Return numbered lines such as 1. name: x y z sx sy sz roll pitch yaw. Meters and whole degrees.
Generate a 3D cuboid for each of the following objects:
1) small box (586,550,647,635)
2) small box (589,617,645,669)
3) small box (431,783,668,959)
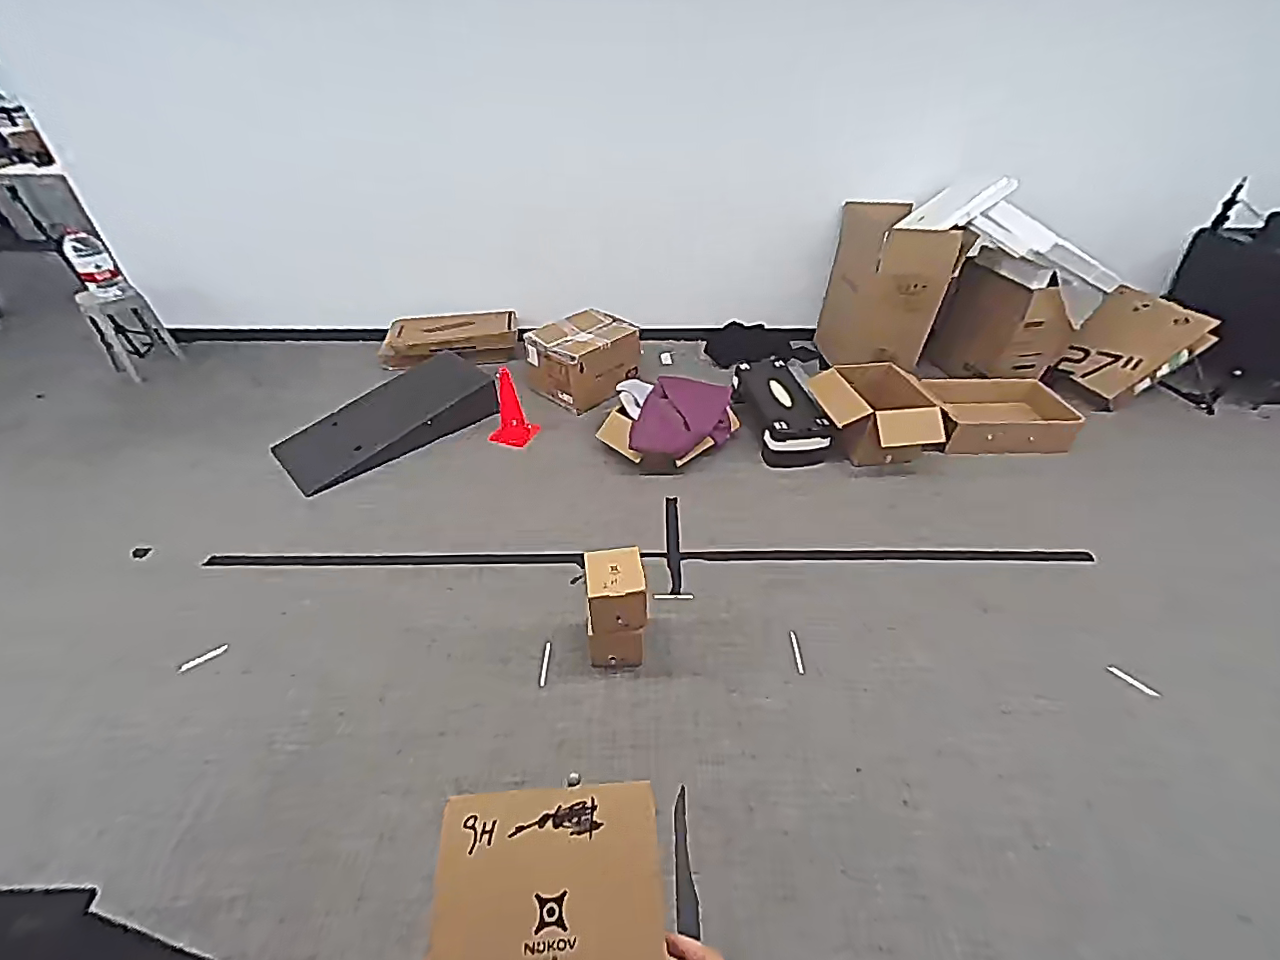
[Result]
1. small box: -0.071 0.335 1.613 0.168 0.176 0.179 -7 39 -5
2. small box: -0.071 0.472 1.706 0.168 0.176 0.179 -3 40 -2
3. small box: -0.067 0.364 0.443 0.168 0.176 0.179 -1 53 -7
